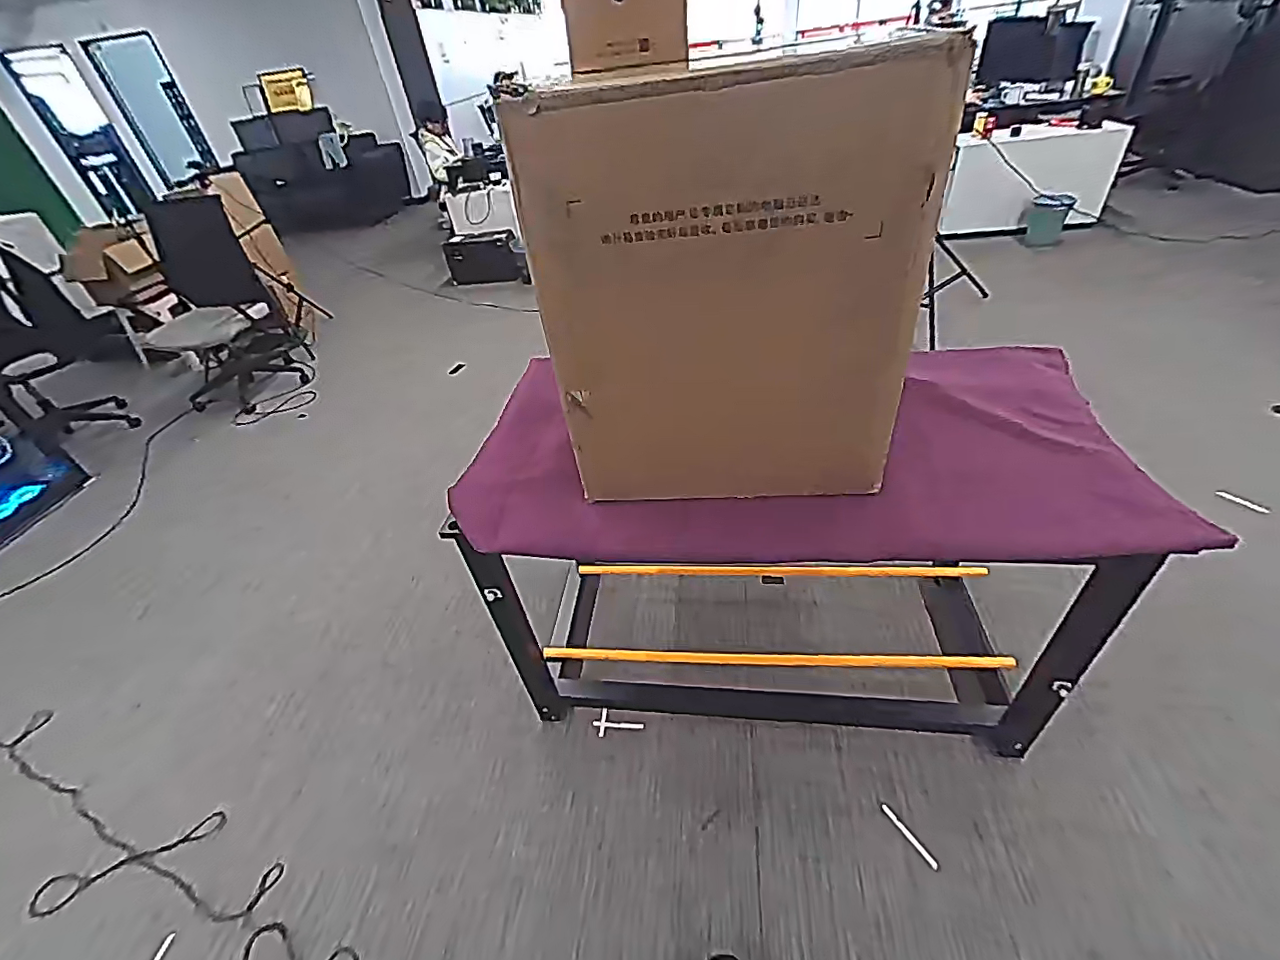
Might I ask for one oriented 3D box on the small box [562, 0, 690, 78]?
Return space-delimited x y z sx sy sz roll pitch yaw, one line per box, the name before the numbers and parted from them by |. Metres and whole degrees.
small box | -0.020 -0.675 0.756 0.168 0.176 0.179 -4 39 2
